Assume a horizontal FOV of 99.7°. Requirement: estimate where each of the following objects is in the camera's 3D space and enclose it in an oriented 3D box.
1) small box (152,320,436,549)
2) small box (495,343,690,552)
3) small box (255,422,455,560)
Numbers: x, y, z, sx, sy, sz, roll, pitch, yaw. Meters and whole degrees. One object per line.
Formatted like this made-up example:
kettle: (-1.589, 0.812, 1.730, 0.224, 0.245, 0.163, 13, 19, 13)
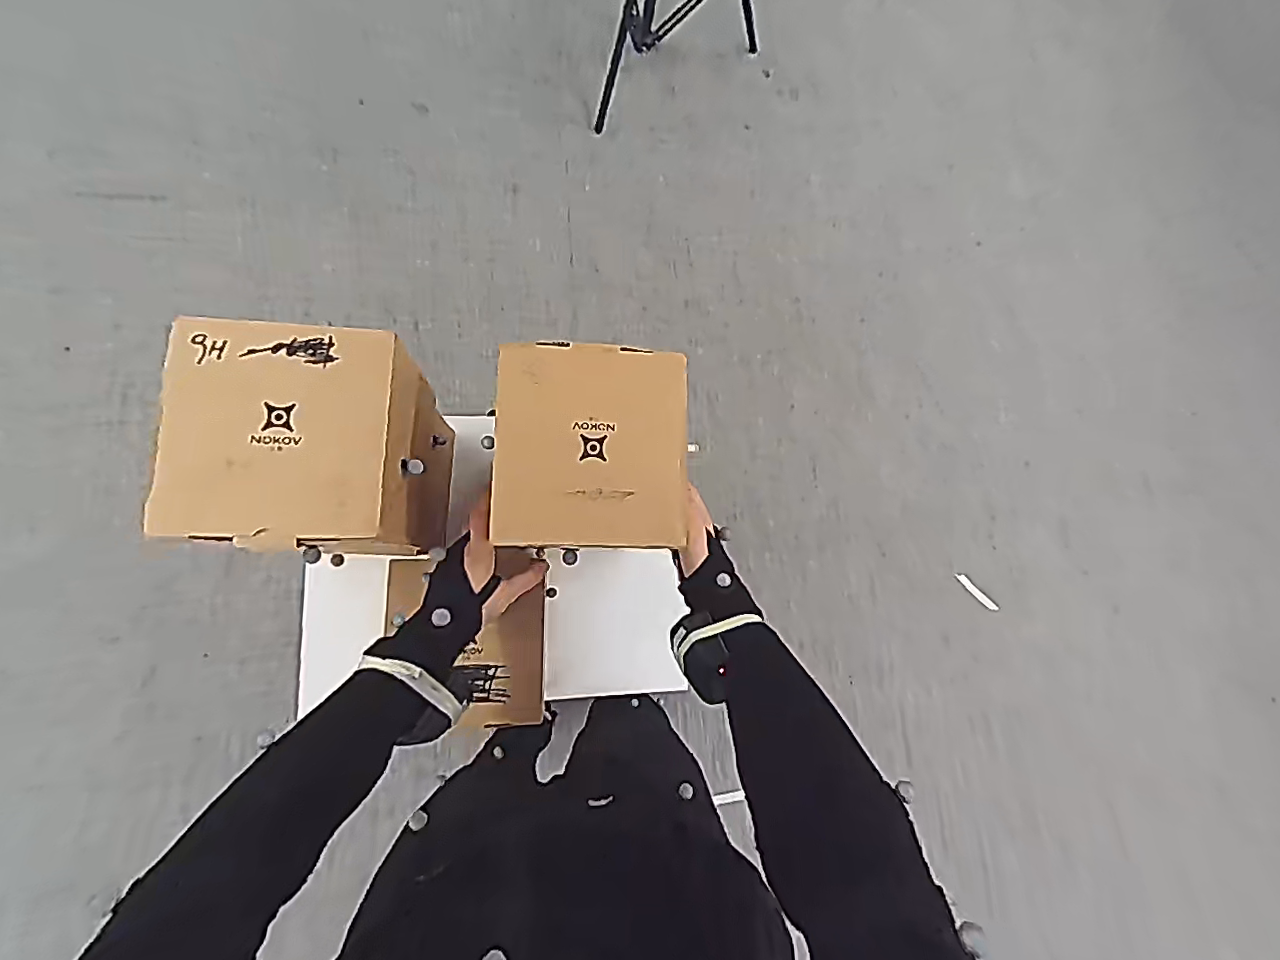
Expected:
small box: (-0.293, -0.026, 0.501, 0.168, 0.176, 0.179, 2, 82, -10)
small box: (-0.049, -0.018, 0.540, 0.168, 0.176, 0.179, 1, 82, -8)
small box: (-0.327, 0.006, 0.658, 0.168, 0.176, 0.179, 3, 81, -10)
